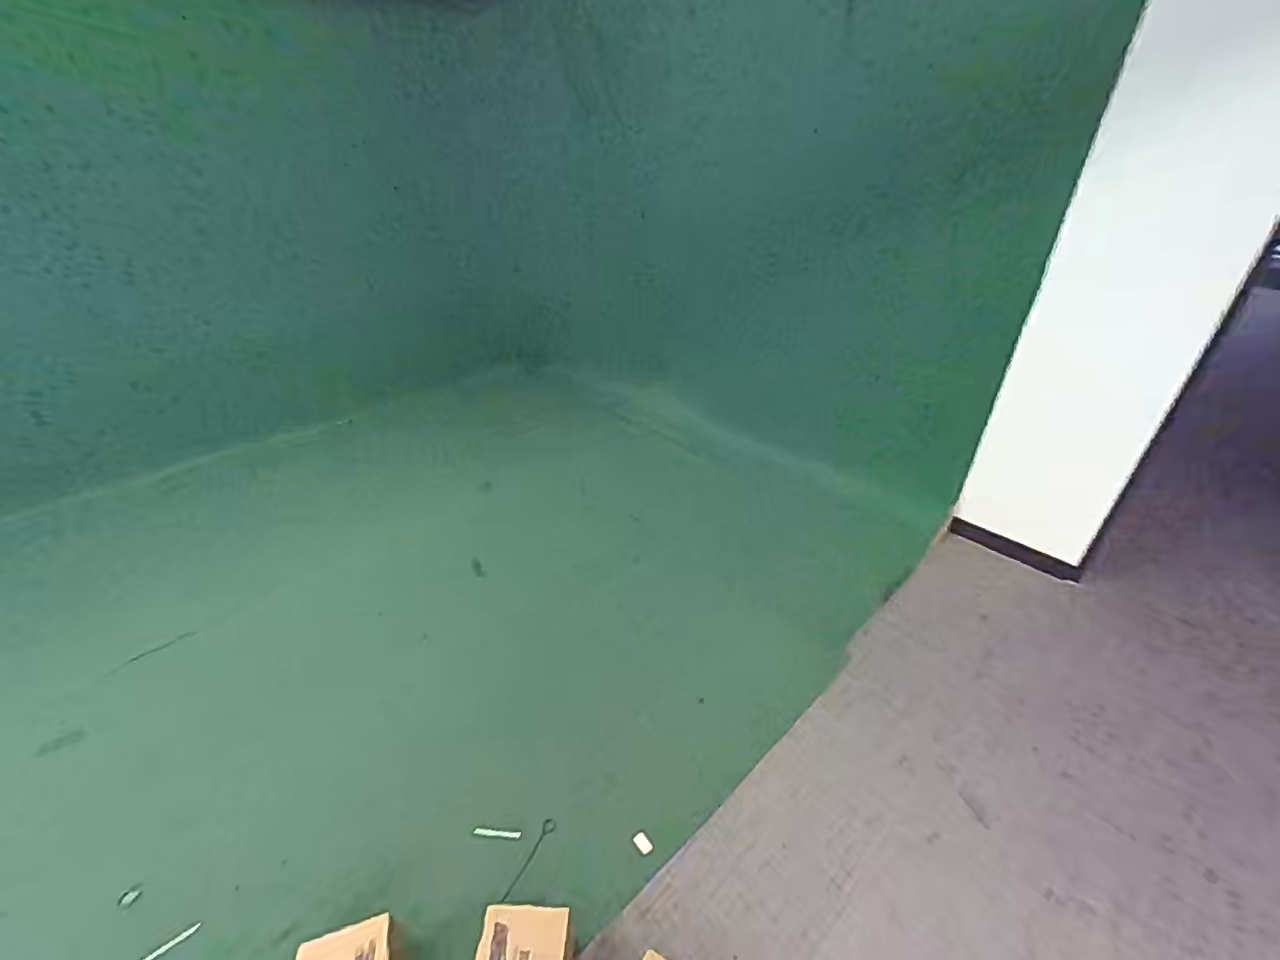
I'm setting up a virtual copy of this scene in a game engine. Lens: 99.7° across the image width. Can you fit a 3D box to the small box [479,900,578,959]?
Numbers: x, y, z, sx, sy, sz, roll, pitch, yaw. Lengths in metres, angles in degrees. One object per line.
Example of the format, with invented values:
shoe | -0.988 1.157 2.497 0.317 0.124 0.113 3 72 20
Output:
small box | -0.230 1.005 1.119 0.179 0.176 0.168 1 34 2
